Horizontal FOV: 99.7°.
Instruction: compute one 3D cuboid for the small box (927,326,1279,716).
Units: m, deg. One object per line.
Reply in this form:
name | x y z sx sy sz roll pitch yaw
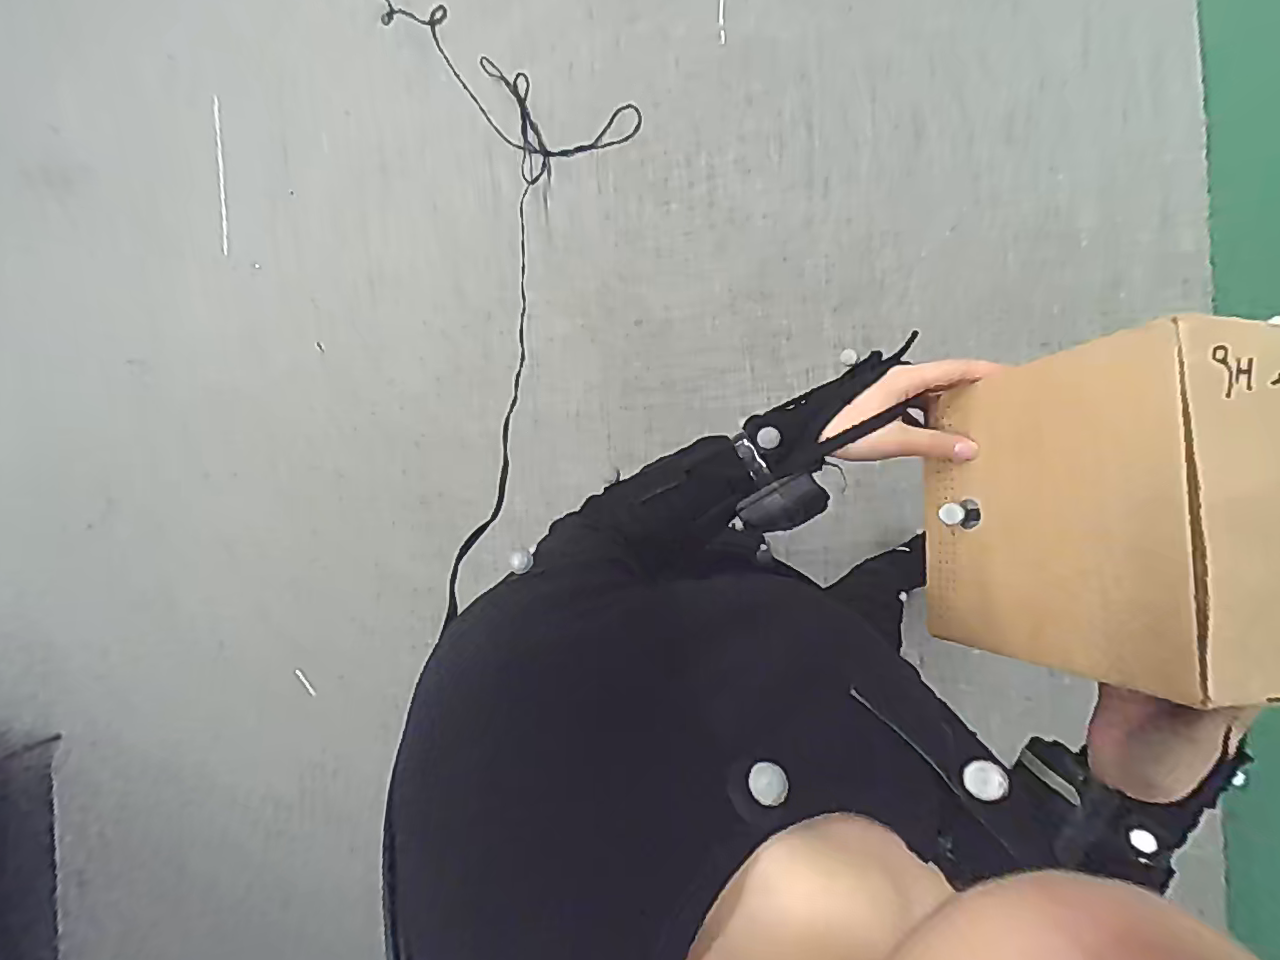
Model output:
small box | 0.304 0.027 0.333 0.168 0.176 0.179 4 84 -11
